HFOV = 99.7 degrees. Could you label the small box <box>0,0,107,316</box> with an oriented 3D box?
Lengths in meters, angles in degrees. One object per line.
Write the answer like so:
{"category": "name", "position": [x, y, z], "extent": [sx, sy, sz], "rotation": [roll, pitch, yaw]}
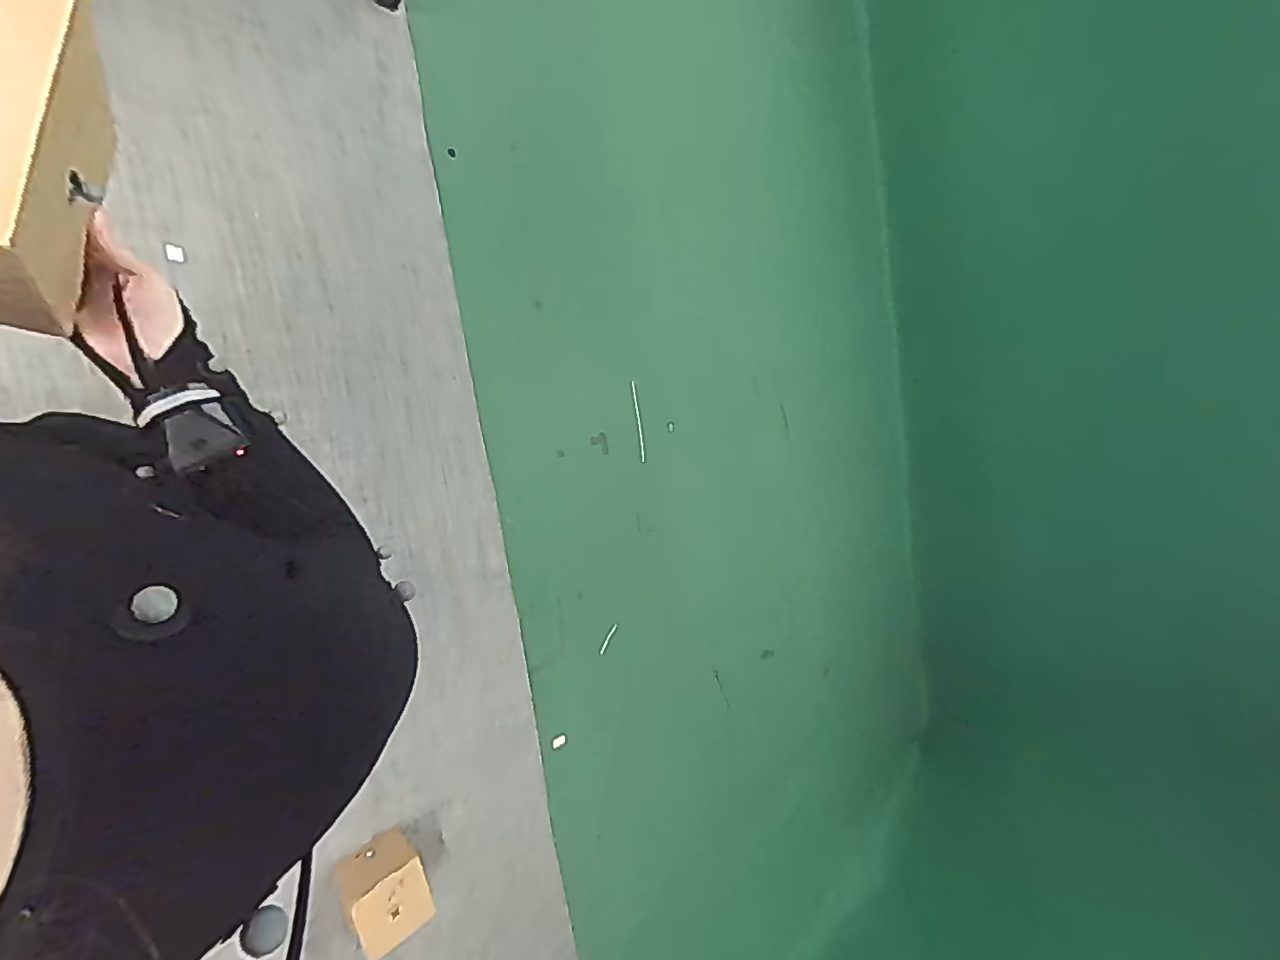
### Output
{"category": "small box", "position": [-0.434, -0.221, 0.304], "extent": [0.168, 0.176, 0.179], "rotation": [11, 79, -38]}

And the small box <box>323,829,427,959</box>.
{"category": "small box", "position": [-0.662, 1.028, 1.348], "extent": [0.168, 0.176, 0.179], "rotation": [-20, 103, -42]}
